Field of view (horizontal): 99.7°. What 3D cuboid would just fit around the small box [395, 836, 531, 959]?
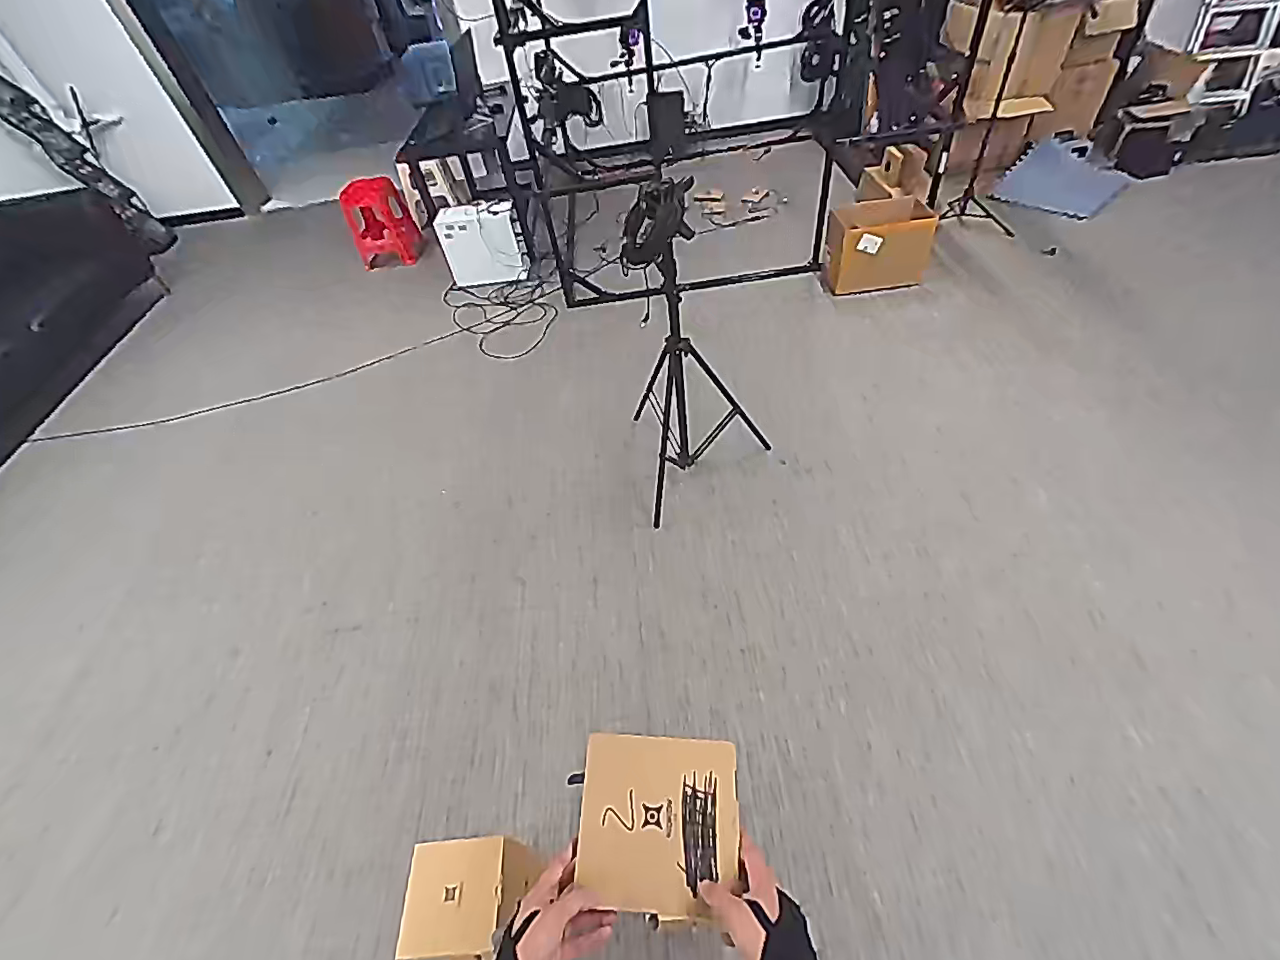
[{"bbox_3d":[-0.316,0.779,1.004,0.179,0.176,0.168,-8,48,3],"label":"small box"}]

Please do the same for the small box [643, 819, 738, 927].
[{"bbox_3d":[0.100,0.815,1.120,0.179,0.176,0.168,-6,48,3],"label":"small box"}]

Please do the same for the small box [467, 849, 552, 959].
[{"bbox_3d":[-0.283,0.892,1.116,0.168,0.176,0.179,-12,49,0],"label":"small box"}]

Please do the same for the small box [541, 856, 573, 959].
[{"bbox_3d":[-0.255,0.995,1.241,0.168,0.176,0.179,-13,48,-1],"label":"small box"}]
